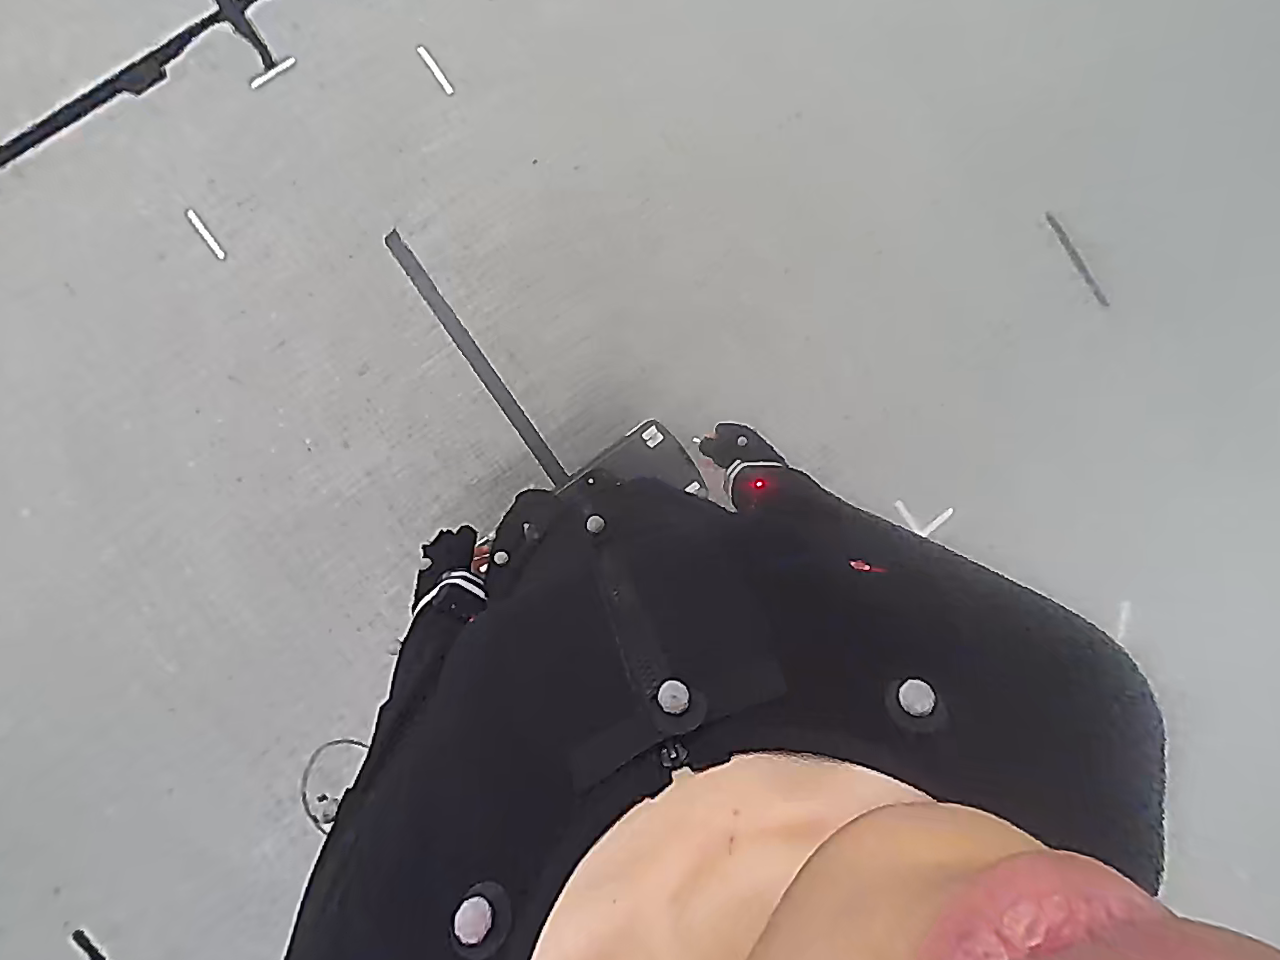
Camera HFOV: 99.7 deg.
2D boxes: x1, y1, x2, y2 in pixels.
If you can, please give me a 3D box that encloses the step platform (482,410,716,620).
[{"bbox_3d":[-0.116,0.094,1.570,0.684,0.204,0.286,-38,95,-5],"label":"step platform"}]
